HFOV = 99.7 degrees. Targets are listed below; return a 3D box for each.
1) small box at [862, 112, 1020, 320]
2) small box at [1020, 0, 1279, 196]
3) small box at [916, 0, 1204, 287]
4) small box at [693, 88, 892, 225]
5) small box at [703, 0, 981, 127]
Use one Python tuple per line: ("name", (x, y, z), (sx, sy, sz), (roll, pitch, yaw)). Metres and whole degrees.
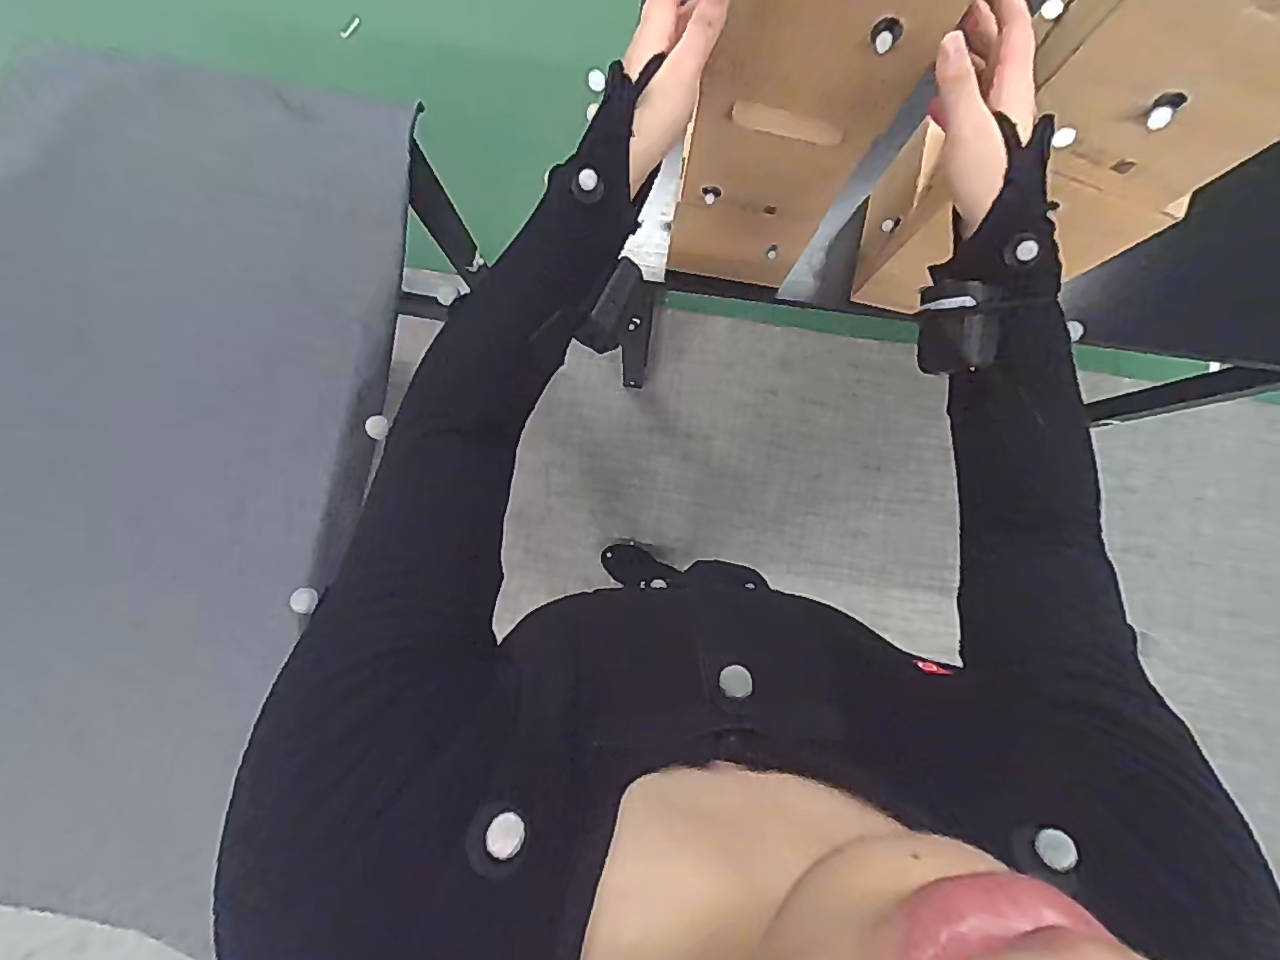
("small box", (0.418, -0.334, 0.720), (0.168, 0.176, 0.179), (13, 86, 0))
("small box", (0.427, -0.351, 0.394), (0.168, 0.176, 0.179), (23, 87, 2))
("small box", (0.429, -0.324, 0.556), (0.179, 0.176, 0.168), (21, 86, 1))
("small box", (0.154, -0.397, 0.558), (0.168, 0.176, 0.179), (12, 85, -1))
("small box", (0.155, -0.401, 0.395), (0.179, 0.176, 0.168), (12, 84, 0))
